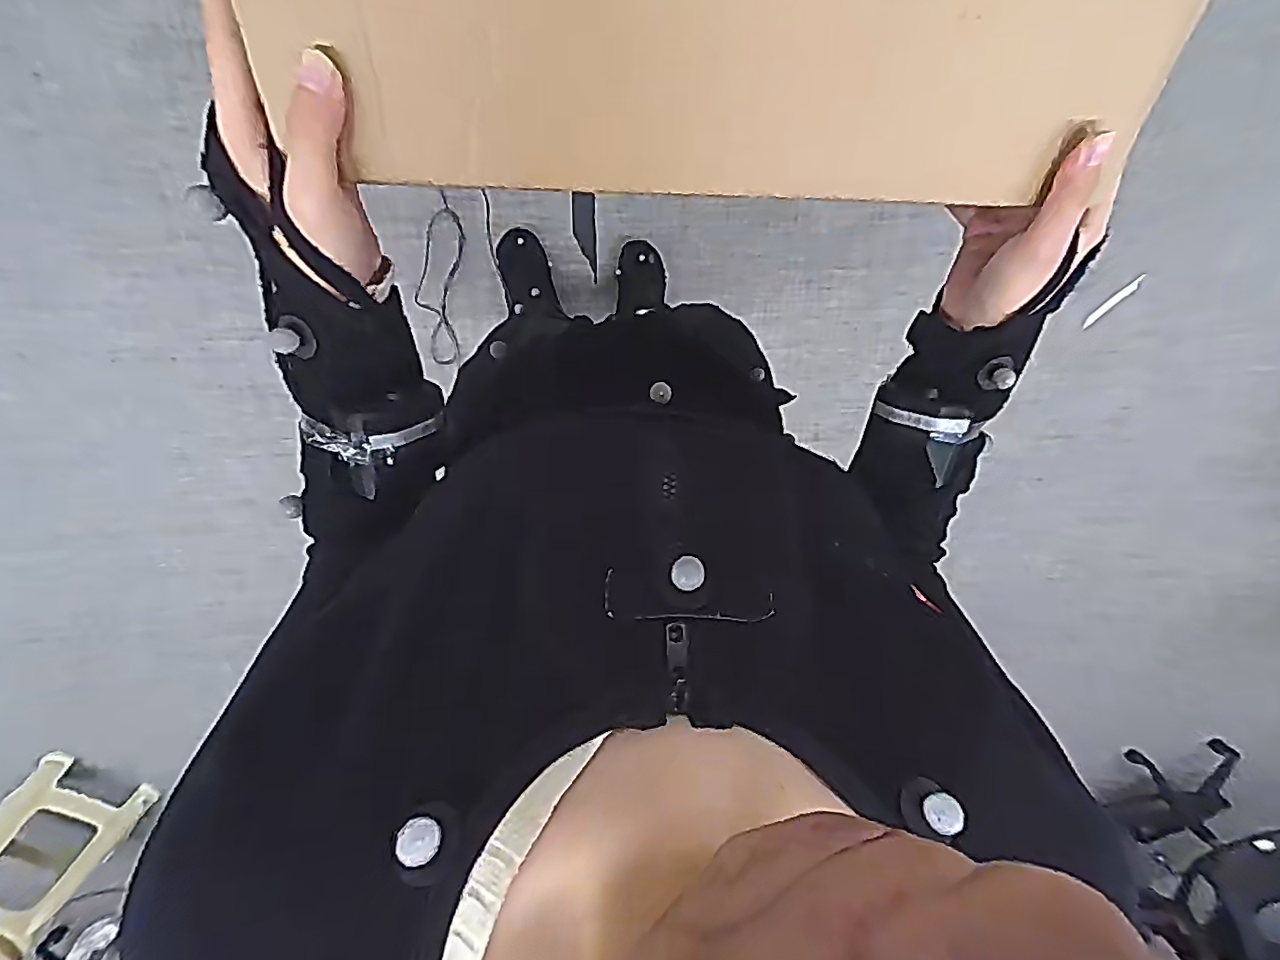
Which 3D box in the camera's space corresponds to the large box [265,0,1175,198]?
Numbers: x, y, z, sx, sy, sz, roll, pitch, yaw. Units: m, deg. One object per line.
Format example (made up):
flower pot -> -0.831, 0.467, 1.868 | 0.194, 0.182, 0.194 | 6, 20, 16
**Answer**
large box -> 0.031, -0.356, 0.302 | 0.408, 0.320, 0.320 | -3, 127, -8
